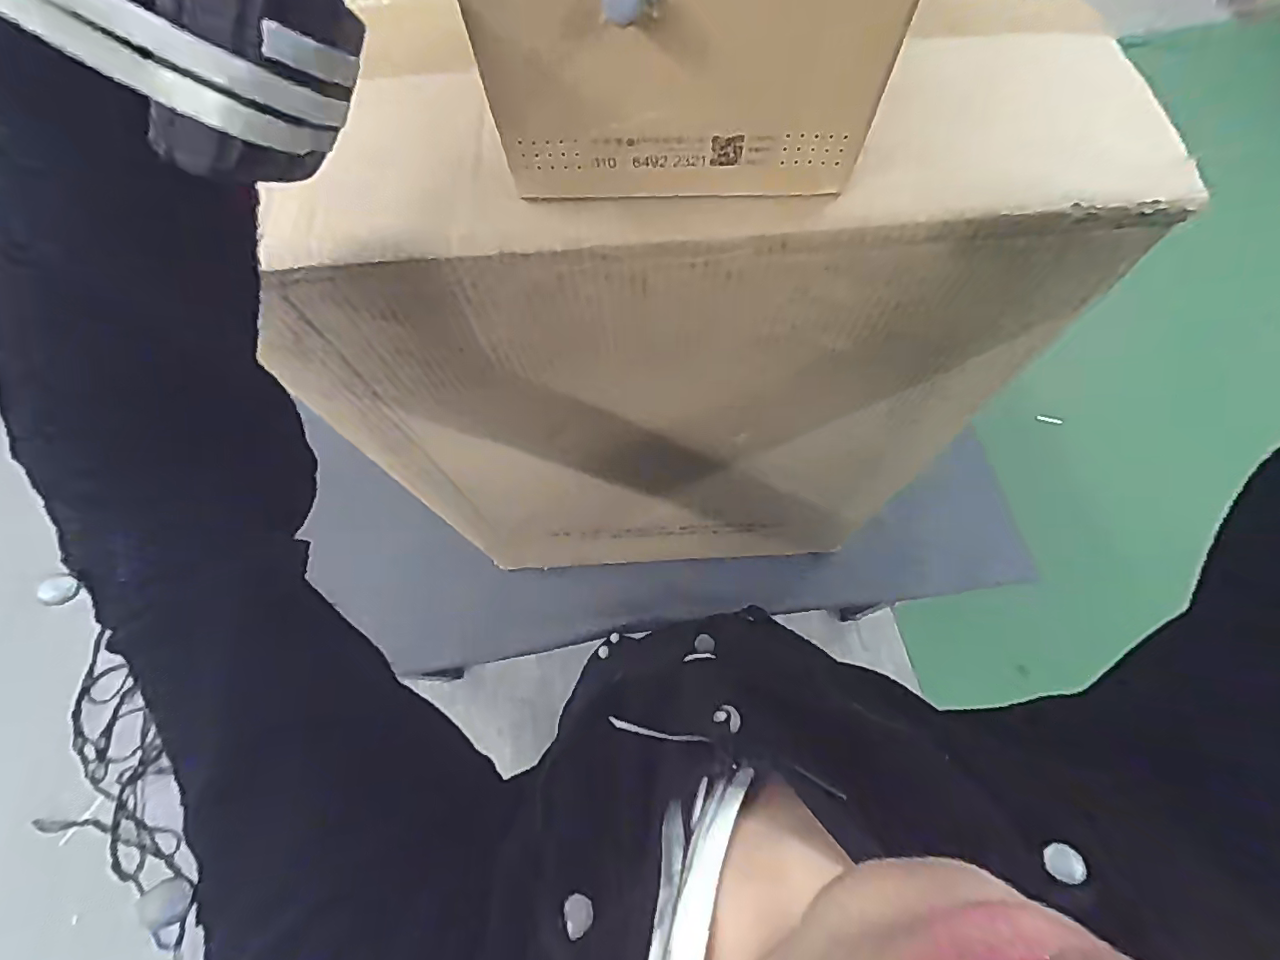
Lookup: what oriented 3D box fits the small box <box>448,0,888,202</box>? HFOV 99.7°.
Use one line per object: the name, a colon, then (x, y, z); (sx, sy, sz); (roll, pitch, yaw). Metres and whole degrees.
small box: (0.013, -0.245, 0.231); (0.168, 0.176, 0.179); (0, 69, 3)
